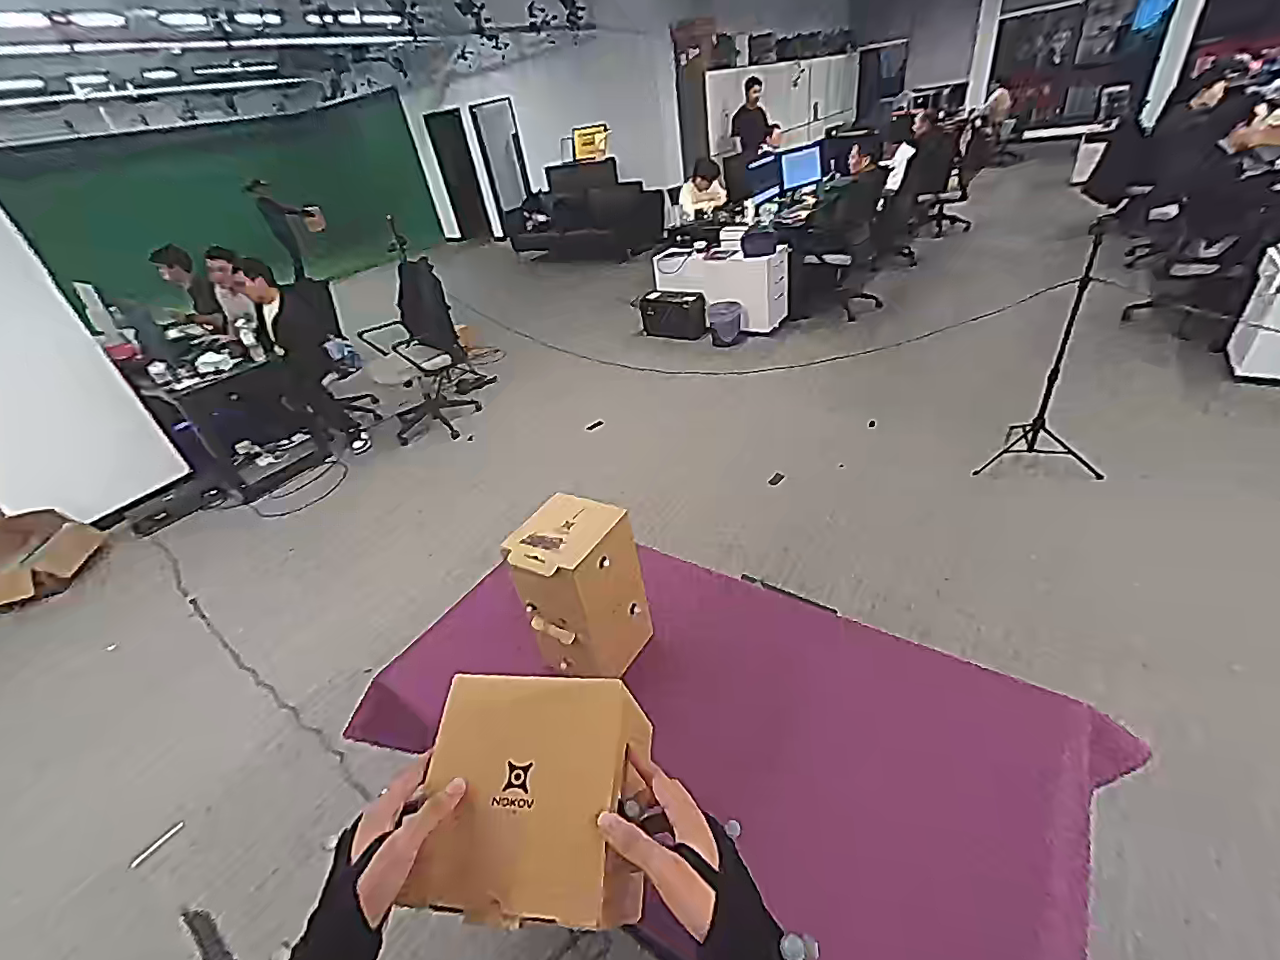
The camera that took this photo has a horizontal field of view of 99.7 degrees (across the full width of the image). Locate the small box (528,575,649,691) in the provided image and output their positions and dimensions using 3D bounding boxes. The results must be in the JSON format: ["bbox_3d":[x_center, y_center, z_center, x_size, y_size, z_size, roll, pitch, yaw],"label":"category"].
[{"bbox_3d":[-0.094,0.285,1.099,0.168,0.176,0.179,16,42,33],"label":"small box"}]

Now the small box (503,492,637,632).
[{"bbox_3d":[-0.119,0.151,1.007,0.168,0.176,0.179,13,40,29],"label":"small box"}]
